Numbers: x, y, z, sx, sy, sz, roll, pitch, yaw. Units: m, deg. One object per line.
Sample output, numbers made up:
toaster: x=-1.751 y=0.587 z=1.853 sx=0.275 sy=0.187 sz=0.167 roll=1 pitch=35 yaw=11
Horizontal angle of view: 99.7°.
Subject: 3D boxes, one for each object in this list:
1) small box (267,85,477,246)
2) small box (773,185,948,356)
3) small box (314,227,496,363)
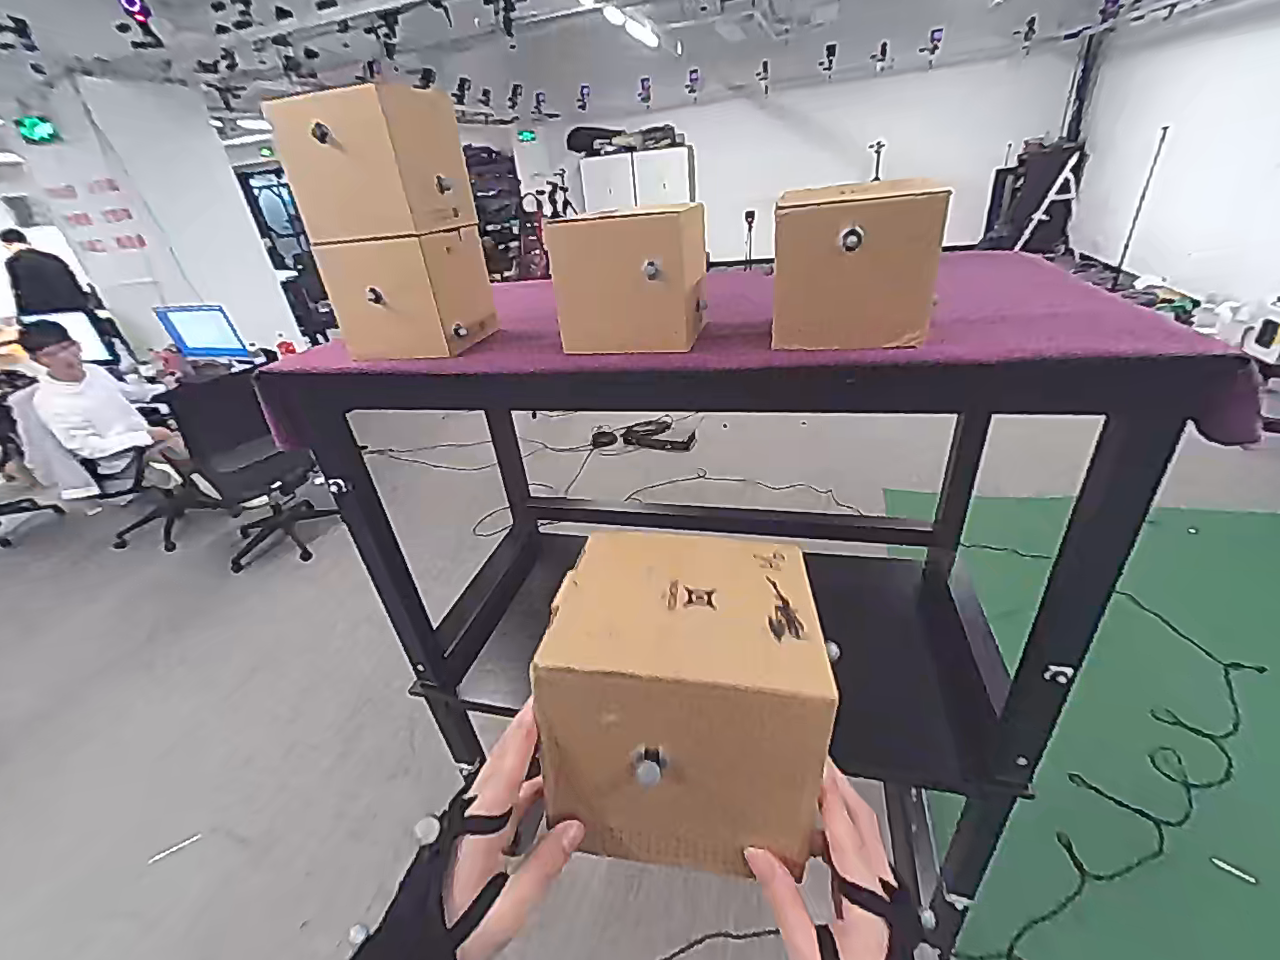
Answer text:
small box: x=-0.358 y=-0.429 z=0.757 sx=0.179 sy=0.176 sz=0.168 roll=3 pitch=31 yaw=15
small box: x=0.260 y=-0.259 z=0.672 sx=0.179 sy=0.176 sz=0.168 roll=4 pitch=33 yaw=17
small box: x=-0.345 y=-0.286 z=0.836 sx=0.179 sy=0.176 sz=0.168 roll=1 pitch=30 yaw=14
